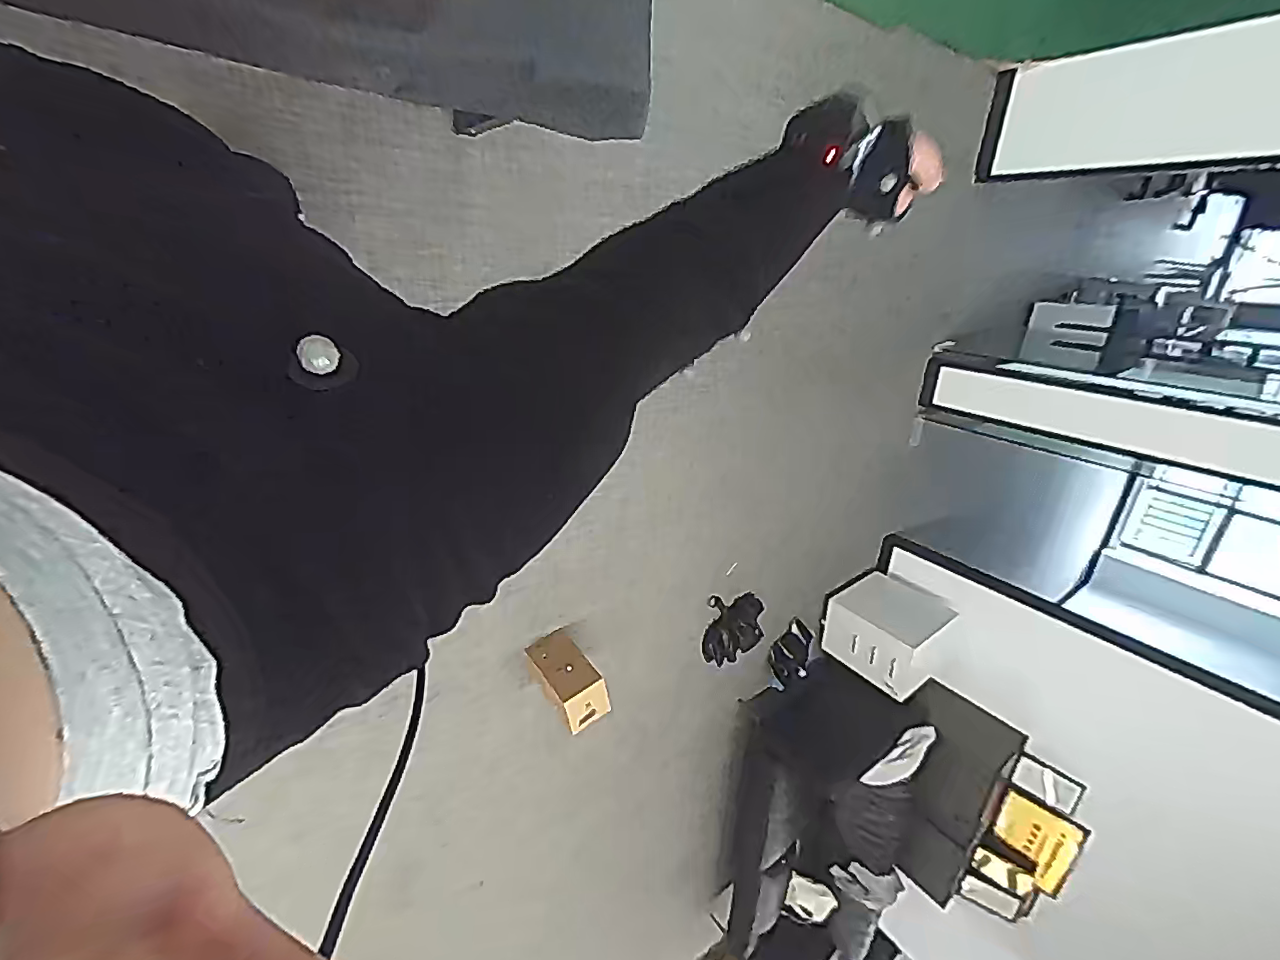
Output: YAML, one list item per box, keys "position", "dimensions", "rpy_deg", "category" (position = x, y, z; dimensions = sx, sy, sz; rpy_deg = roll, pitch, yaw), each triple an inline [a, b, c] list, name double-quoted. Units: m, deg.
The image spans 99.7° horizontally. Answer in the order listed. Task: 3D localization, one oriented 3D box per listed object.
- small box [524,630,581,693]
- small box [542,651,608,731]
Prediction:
- position: [-0.331, 0.710, 2.103]
  dimensions: [0.168, 0.176, 0.179]
  rpy_deg: [-27, 126, -26]
  category: "small box"
- position: [-0.239, 0.766, 1.978]
  dimensions: [0.168, 0.176, 0.179]
  rpy_deg: [-26, 123, -27]
  category: "small box"
